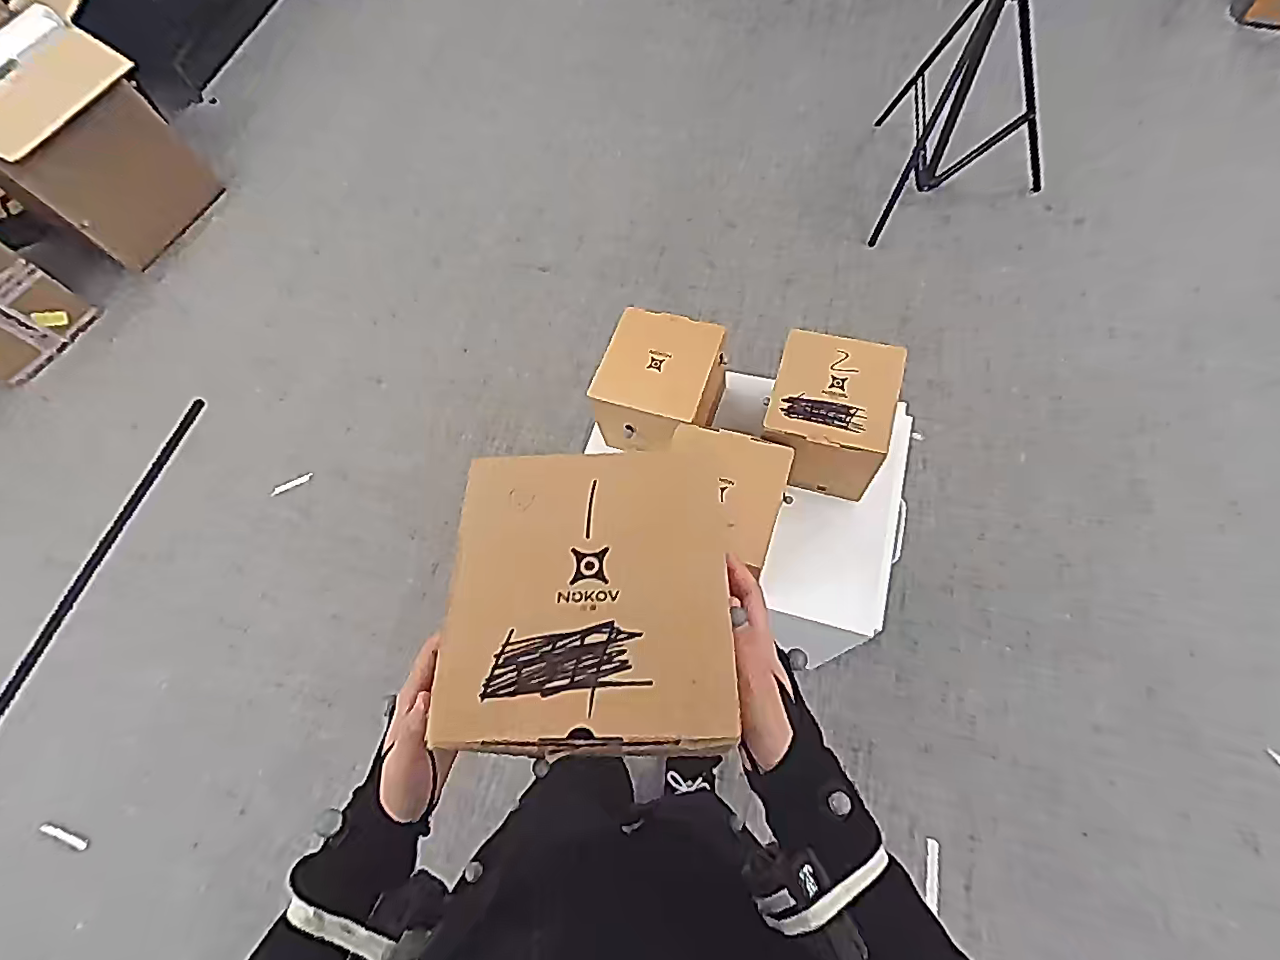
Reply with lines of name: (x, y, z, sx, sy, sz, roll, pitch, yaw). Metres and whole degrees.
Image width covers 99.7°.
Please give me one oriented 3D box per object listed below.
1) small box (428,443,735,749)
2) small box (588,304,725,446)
small box: (-0.024, 0.093, 0.386, 0.168, 0.176, 0.179, -2, 61, 3)
small box: (0.037, -0.148, 0.872, 0.168, 0.176, 0.179, 16, 70, 14)
